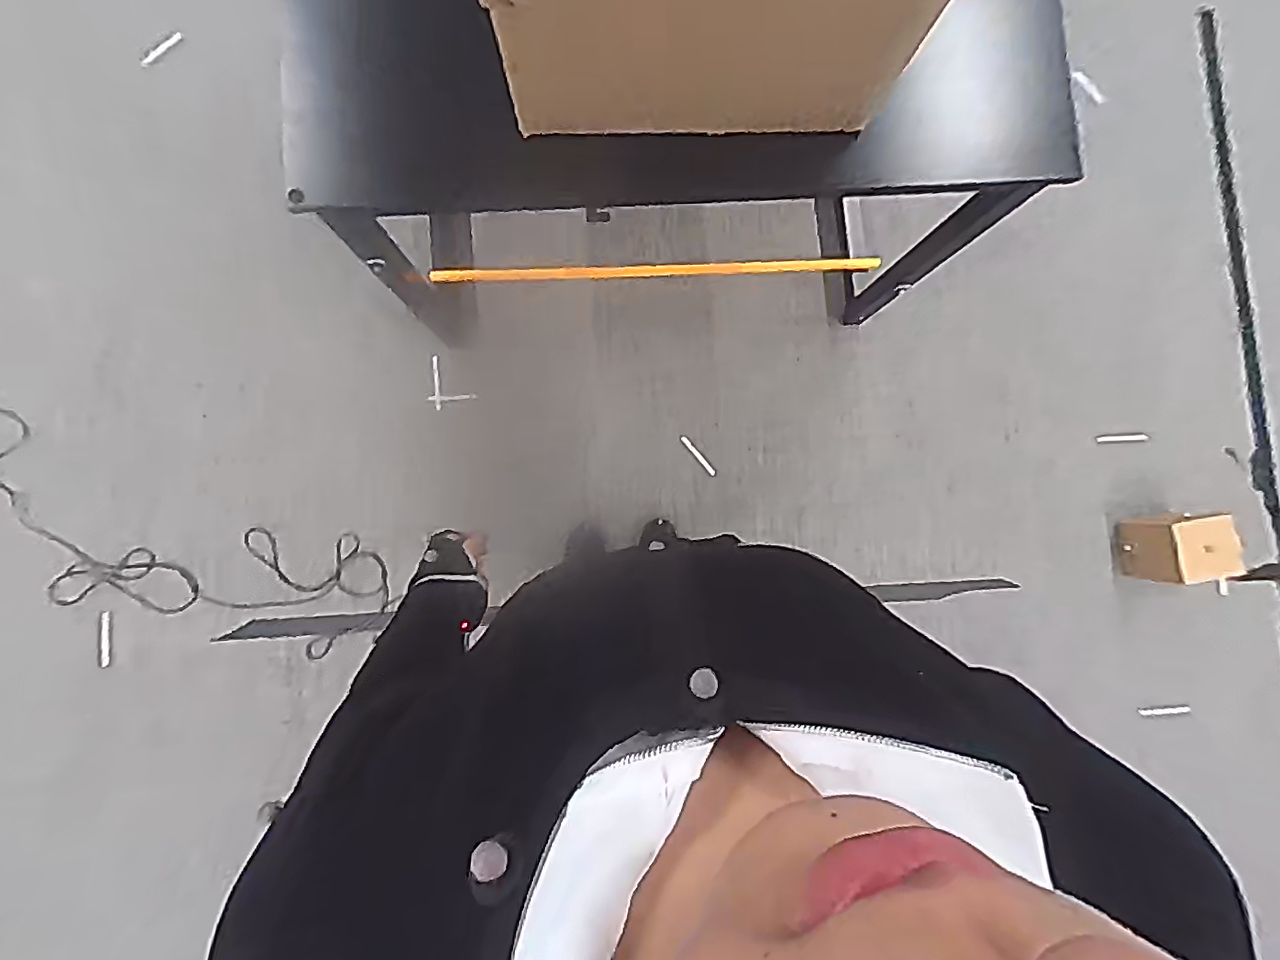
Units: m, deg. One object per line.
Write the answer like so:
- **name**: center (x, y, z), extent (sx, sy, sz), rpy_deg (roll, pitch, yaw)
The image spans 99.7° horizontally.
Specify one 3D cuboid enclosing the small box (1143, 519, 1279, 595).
- **small box**: center (1.515, 0.199, 1.442), extent (0.179, 0.176, 0.168), rpy_deg (-10, 87, -3)
